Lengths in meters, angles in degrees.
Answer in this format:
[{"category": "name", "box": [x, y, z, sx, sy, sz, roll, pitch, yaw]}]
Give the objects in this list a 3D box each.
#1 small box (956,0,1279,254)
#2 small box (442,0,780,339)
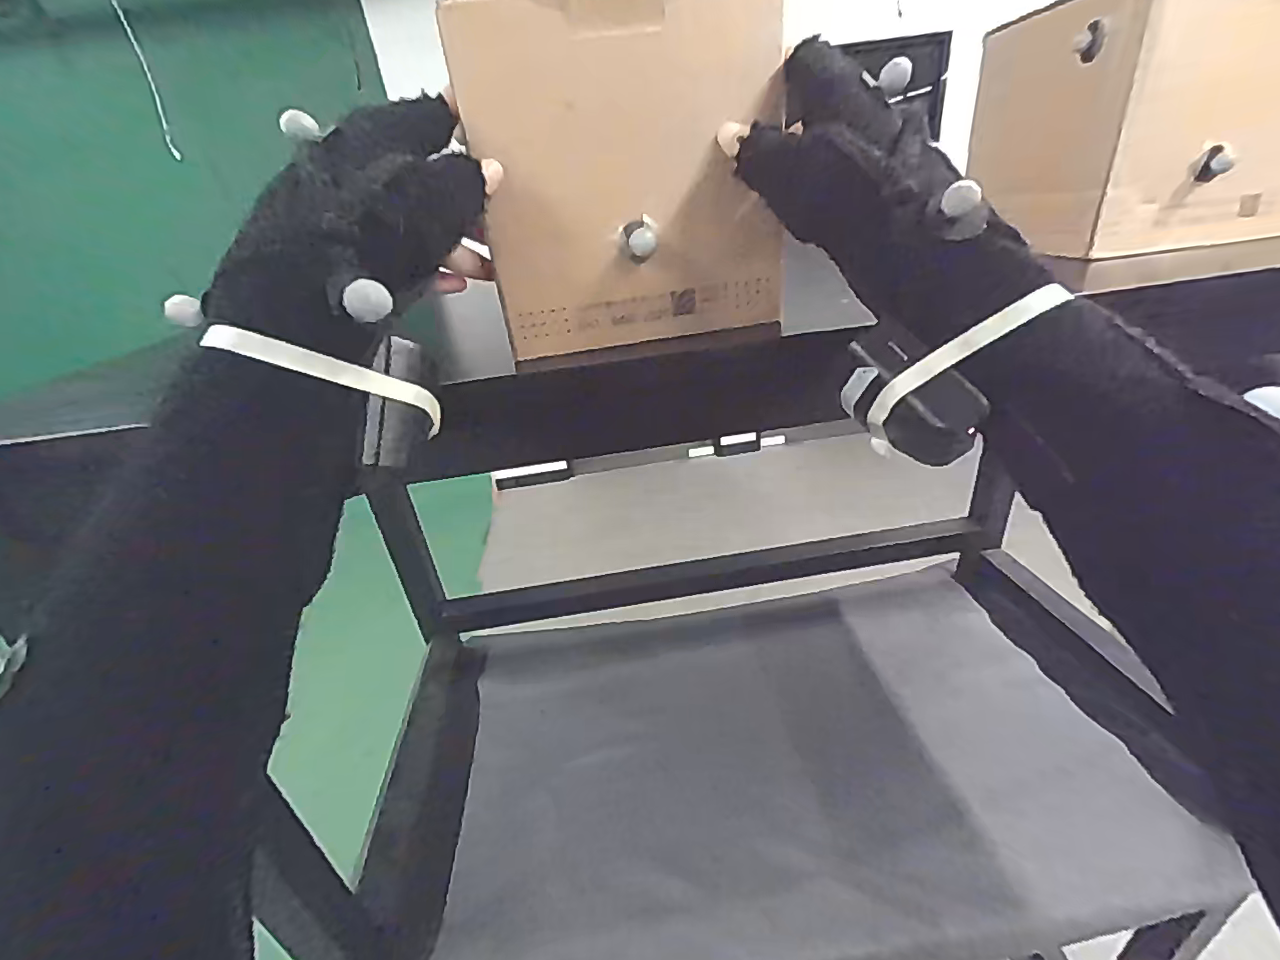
[{"category": "small box", "box": [0.382, -0.279, 0.426, 0.168, 0.176, 0.179, -6, 28, 1]}, {"category": "small box", "box": [-0.015, -0.201, 0.367, 0.168, 0.176, 0.179, -10, 28, -4]}]
